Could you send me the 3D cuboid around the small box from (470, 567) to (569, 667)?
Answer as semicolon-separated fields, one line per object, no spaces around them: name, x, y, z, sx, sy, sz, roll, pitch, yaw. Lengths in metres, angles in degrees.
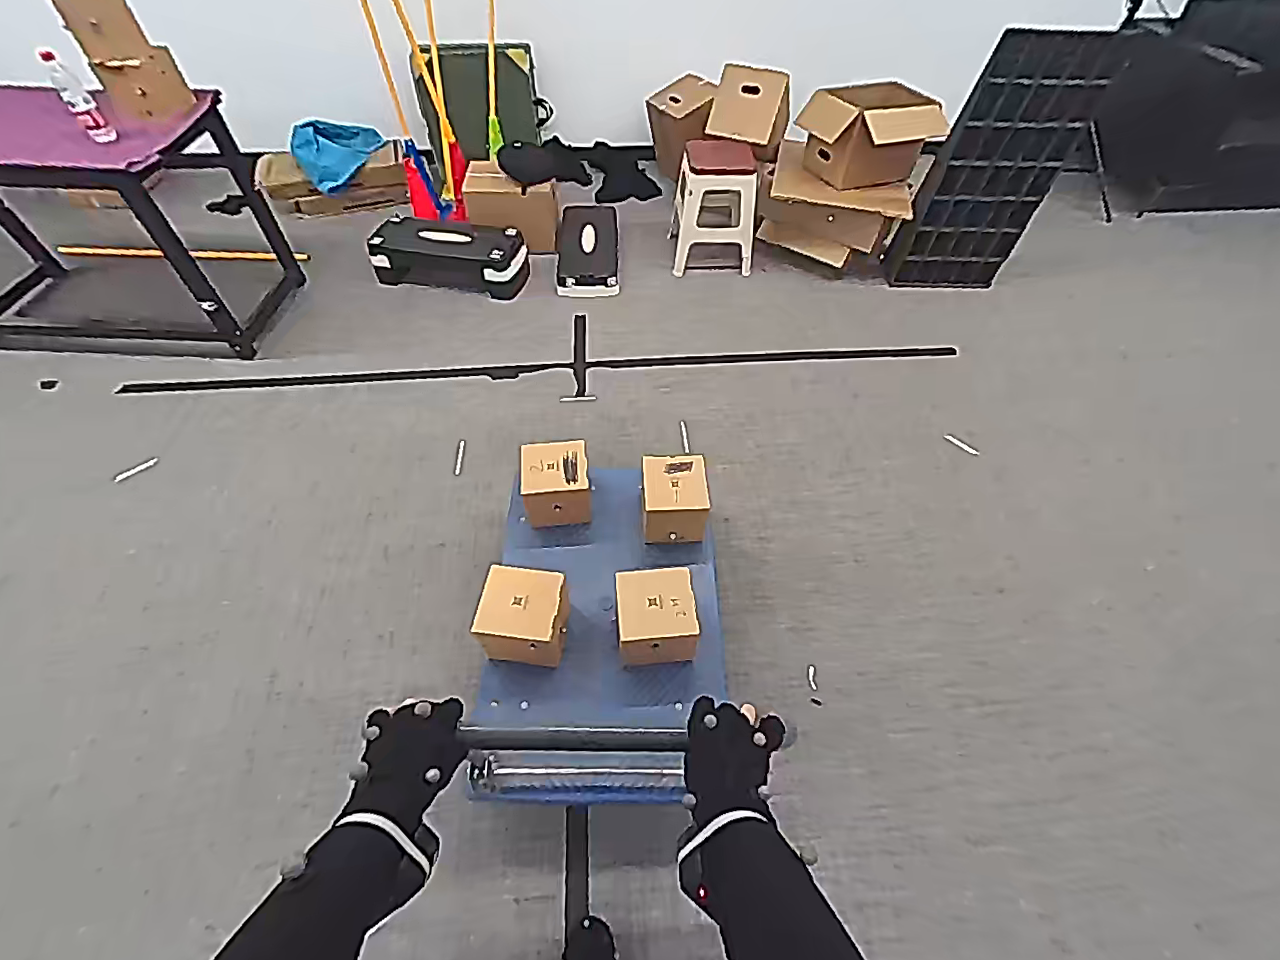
small box;-0.270;0.322;1.258;0.179;0.176;0.168;7;53;2

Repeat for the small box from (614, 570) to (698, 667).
small box;0.033;0.326;1.262;0.179;0.176;0.168;-3;54;-4

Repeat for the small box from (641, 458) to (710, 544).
small box;0.090;0.058;1.463;0.168;0.176;0.179;-1;54;-2
